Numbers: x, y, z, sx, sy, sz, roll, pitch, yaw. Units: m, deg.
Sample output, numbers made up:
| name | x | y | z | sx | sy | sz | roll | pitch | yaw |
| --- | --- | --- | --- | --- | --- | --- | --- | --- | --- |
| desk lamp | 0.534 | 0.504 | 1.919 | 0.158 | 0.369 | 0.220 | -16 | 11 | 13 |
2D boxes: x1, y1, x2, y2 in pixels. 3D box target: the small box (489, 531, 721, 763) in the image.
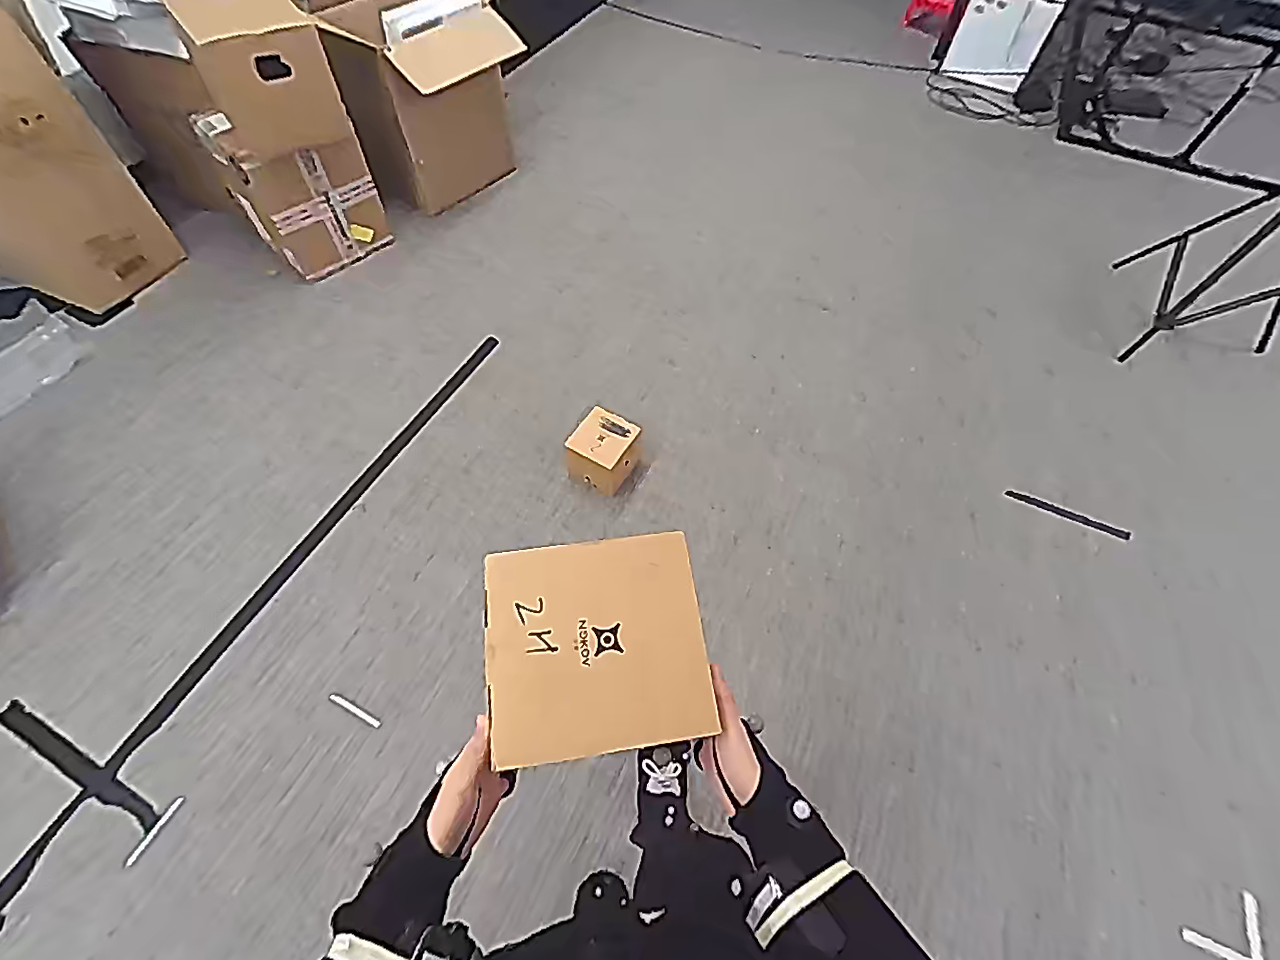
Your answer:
| name | x | y | z | sx | sy | sz | roll | pitch | yaw |
| --- | --- | --- | --- | --- | --- | --- | --- | --- | --- |
| small box | -0.038 | 0.157 | 0.509 | 0.179 | 0.176 | 0.168 | -6 | 67 | -6 |
